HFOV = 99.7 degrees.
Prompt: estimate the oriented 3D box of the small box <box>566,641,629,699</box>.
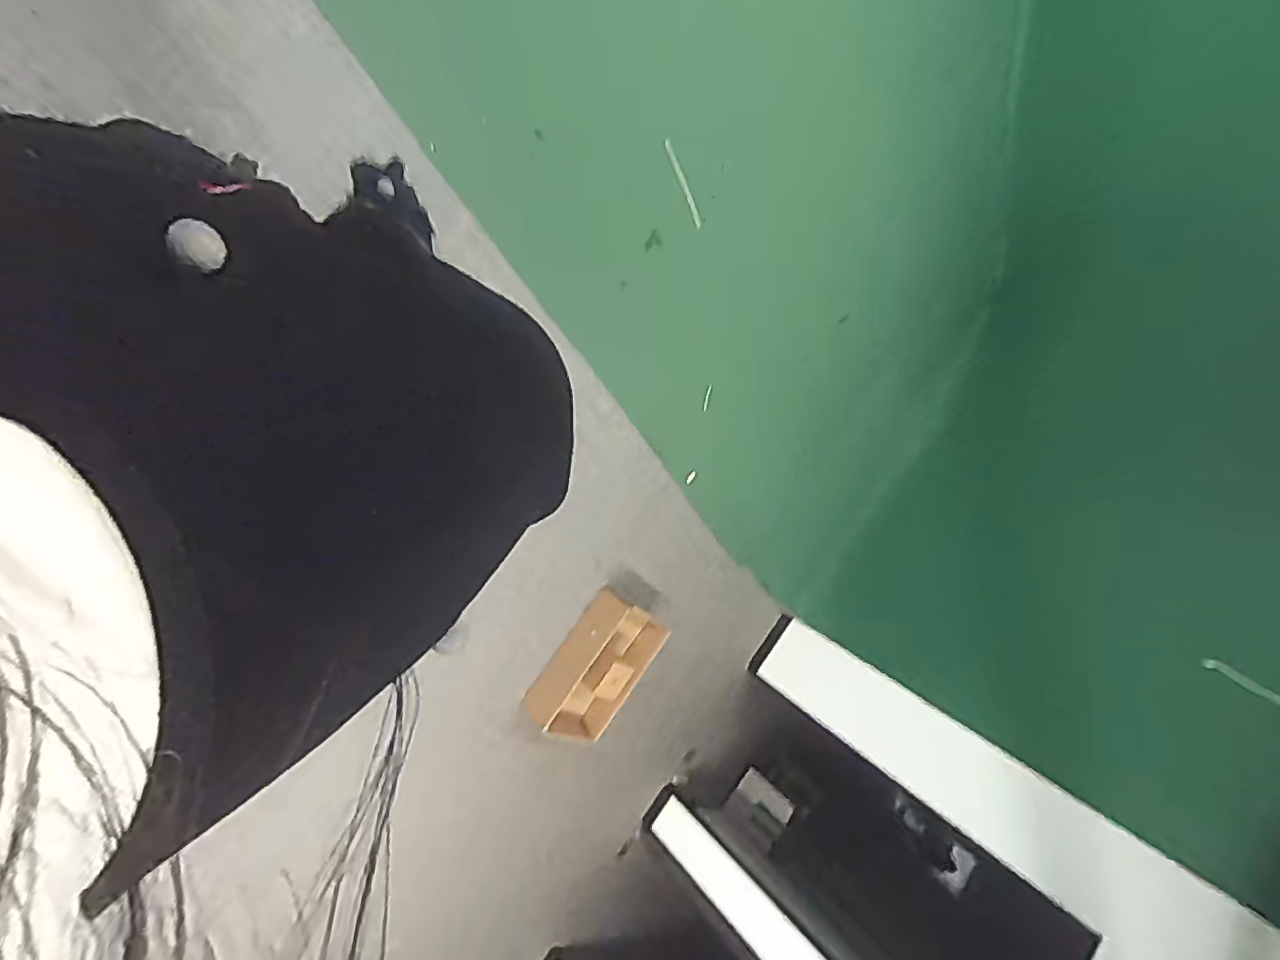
[{"bbox_3d":[-0.187,0.822,2.351,0.168,0.176,0.179,-54,141,-6],"label":"small box"}]
